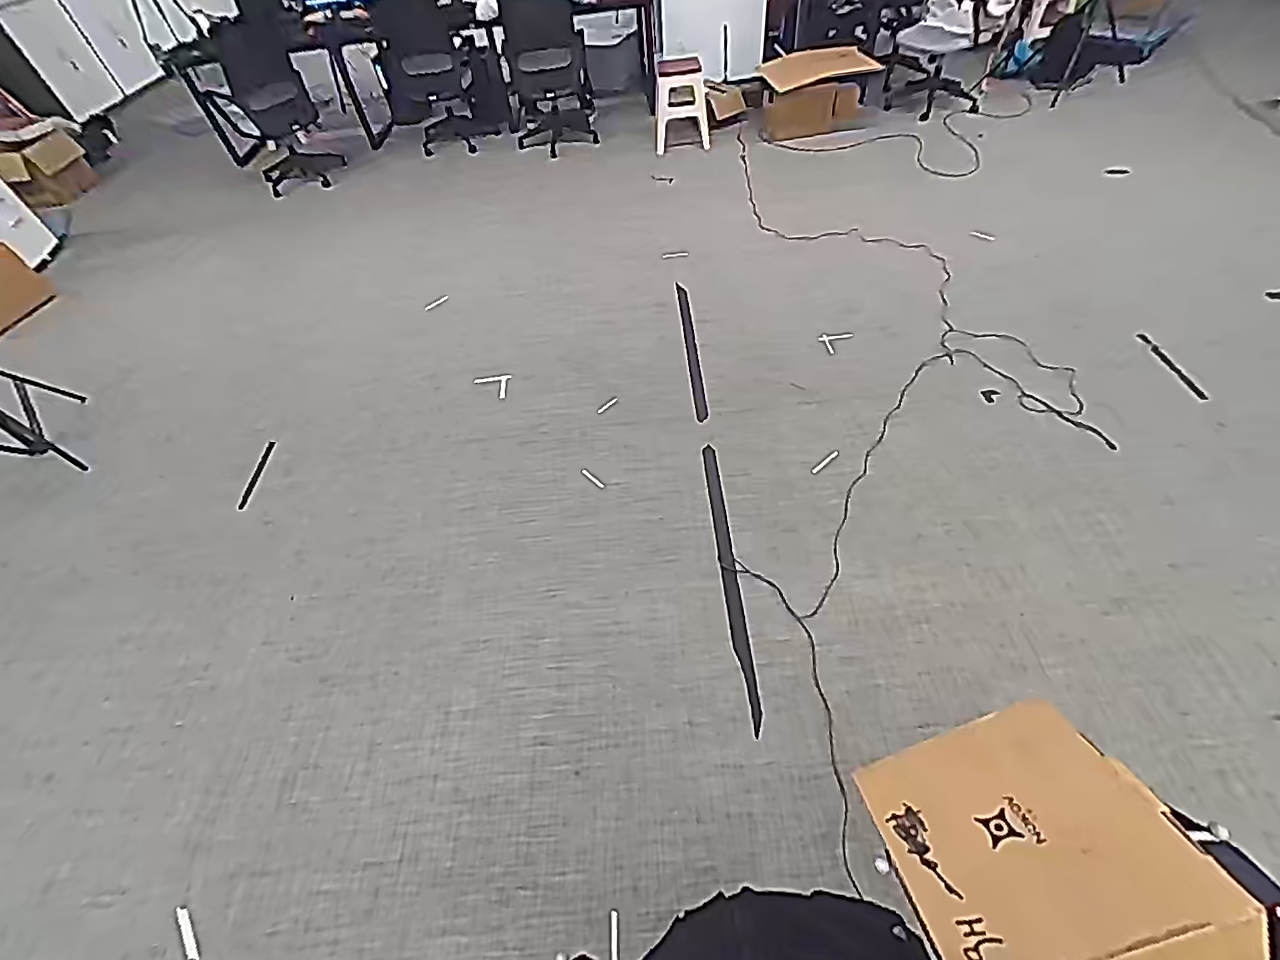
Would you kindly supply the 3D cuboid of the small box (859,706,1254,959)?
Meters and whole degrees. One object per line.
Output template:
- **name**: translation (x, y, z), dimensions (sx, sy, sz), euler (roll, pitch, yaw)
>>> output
- **small box**: translation (0.306, 0.323, 0.424), dimensions (0.179, 0.176, 0.168), euler (-24, 19, 7)
